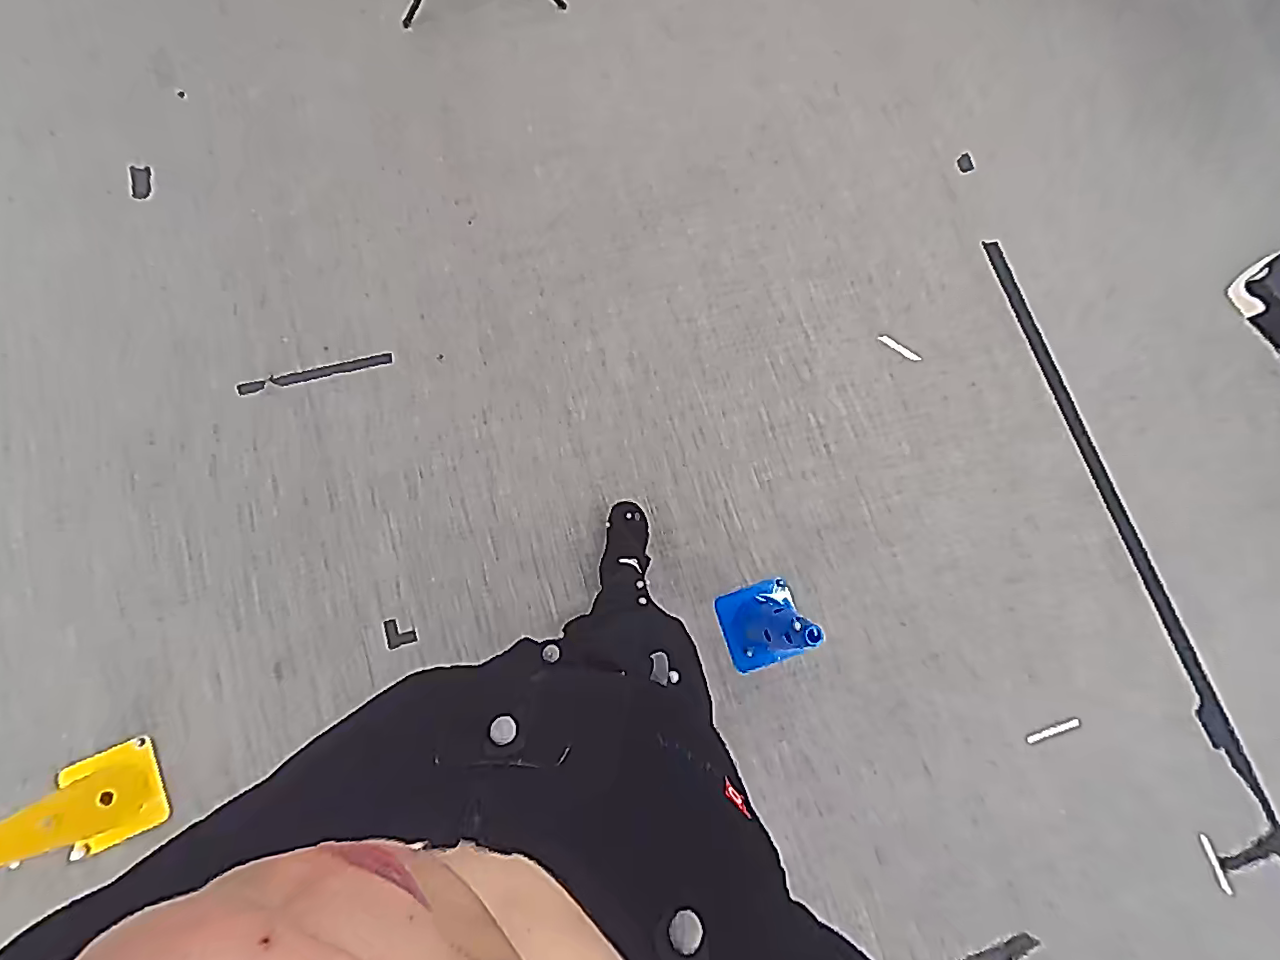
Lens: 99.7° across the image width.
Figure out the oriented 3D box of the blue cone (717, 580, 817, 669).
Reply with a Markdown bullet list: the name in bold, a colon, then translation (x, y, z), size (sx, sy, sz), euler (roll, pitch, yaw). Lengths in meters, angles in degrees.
- **blue cone**: translation (0.316, 0.333, 1.211), size (0.193, 0.380, 0.192), euler (-15, 79, -7)
